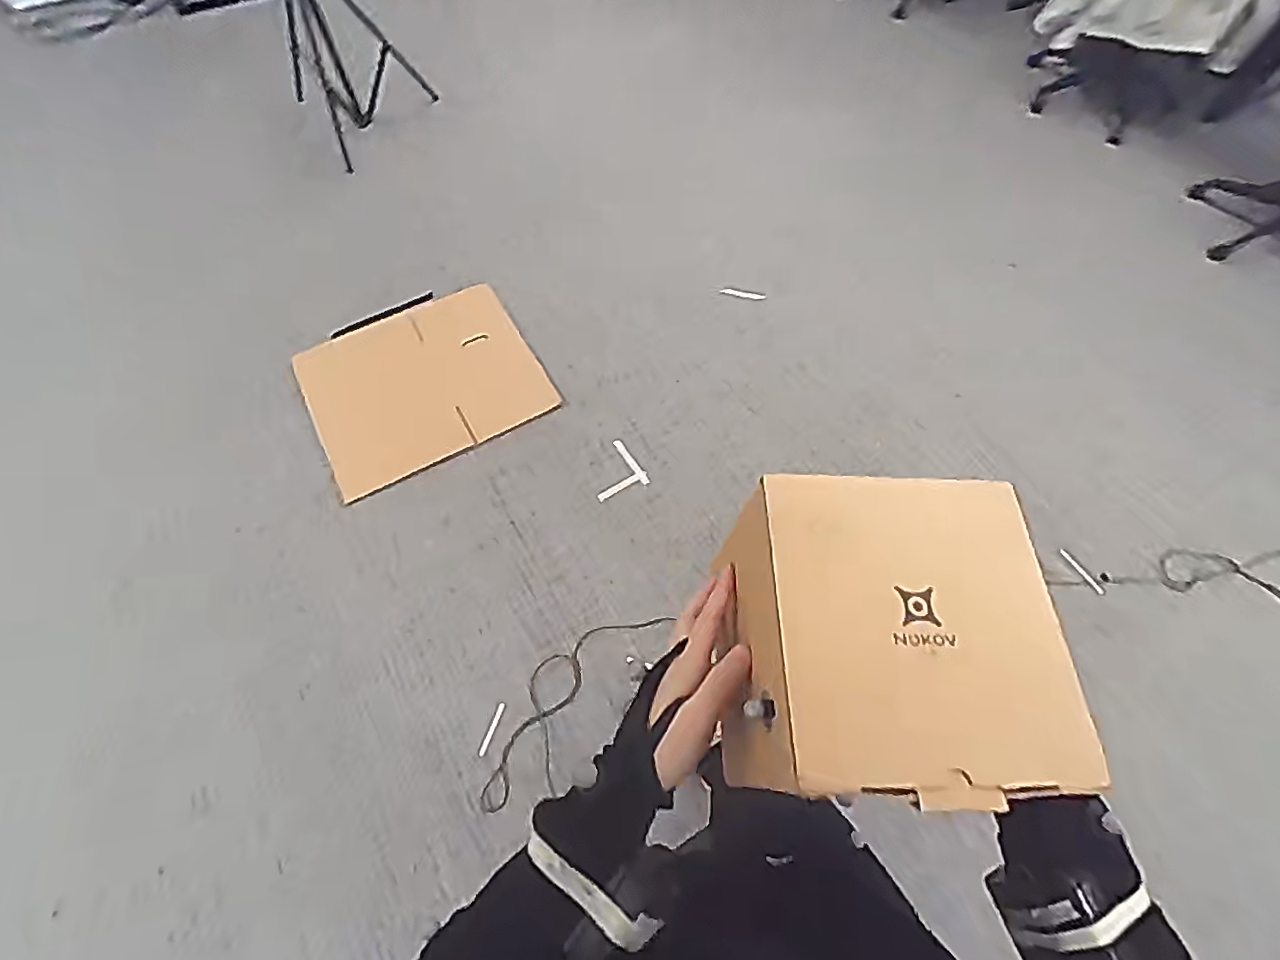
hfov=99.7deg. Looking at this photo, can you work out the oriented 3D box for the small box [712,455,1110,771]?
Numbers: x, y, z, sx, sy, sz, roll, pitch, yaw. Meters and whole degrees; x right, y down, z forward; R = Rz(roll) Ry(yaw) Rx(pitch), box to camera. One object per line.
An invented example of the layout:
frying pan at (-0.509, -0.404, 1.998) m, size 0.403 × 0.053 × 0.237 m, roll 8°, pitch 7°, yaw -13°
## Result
small box at (0.149, 0.101, 0.376) m, size 0.168 × 0.176 × 0.179 m, roll 2°, pitch 62°, yaw -5°
